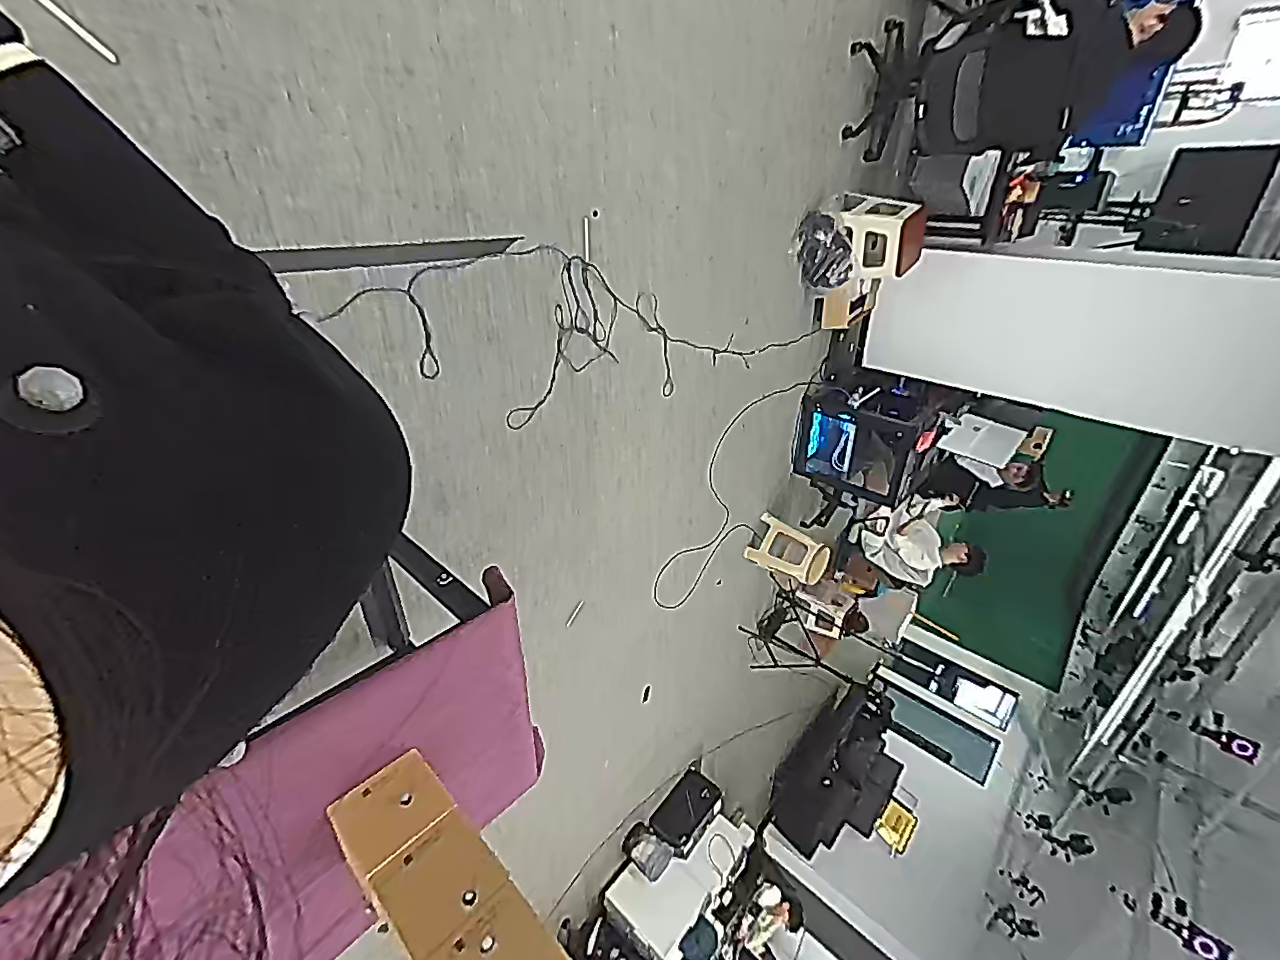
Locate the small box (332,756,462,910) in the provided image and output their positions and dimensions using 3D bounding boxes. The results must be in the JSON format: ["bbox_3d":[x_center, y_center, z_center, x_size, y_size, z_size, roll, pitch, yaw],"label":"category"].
[{"bbox_3d":[-0.443,0.655,1.006,0.168,0.176,0.179,-27,129,-41],"label":"small box"}]

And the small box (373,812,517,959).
[{"bbox_3d":[-0.321,0.714,0.914,0.168,0.176,0.179,-28,131,-41],"label":"small box"}]

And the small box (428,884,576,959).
[{"bbox_3d":[-0.202,0.769,0.813,0.168,0.176,0.179,-27,129,-41],"label":"small box"}]
